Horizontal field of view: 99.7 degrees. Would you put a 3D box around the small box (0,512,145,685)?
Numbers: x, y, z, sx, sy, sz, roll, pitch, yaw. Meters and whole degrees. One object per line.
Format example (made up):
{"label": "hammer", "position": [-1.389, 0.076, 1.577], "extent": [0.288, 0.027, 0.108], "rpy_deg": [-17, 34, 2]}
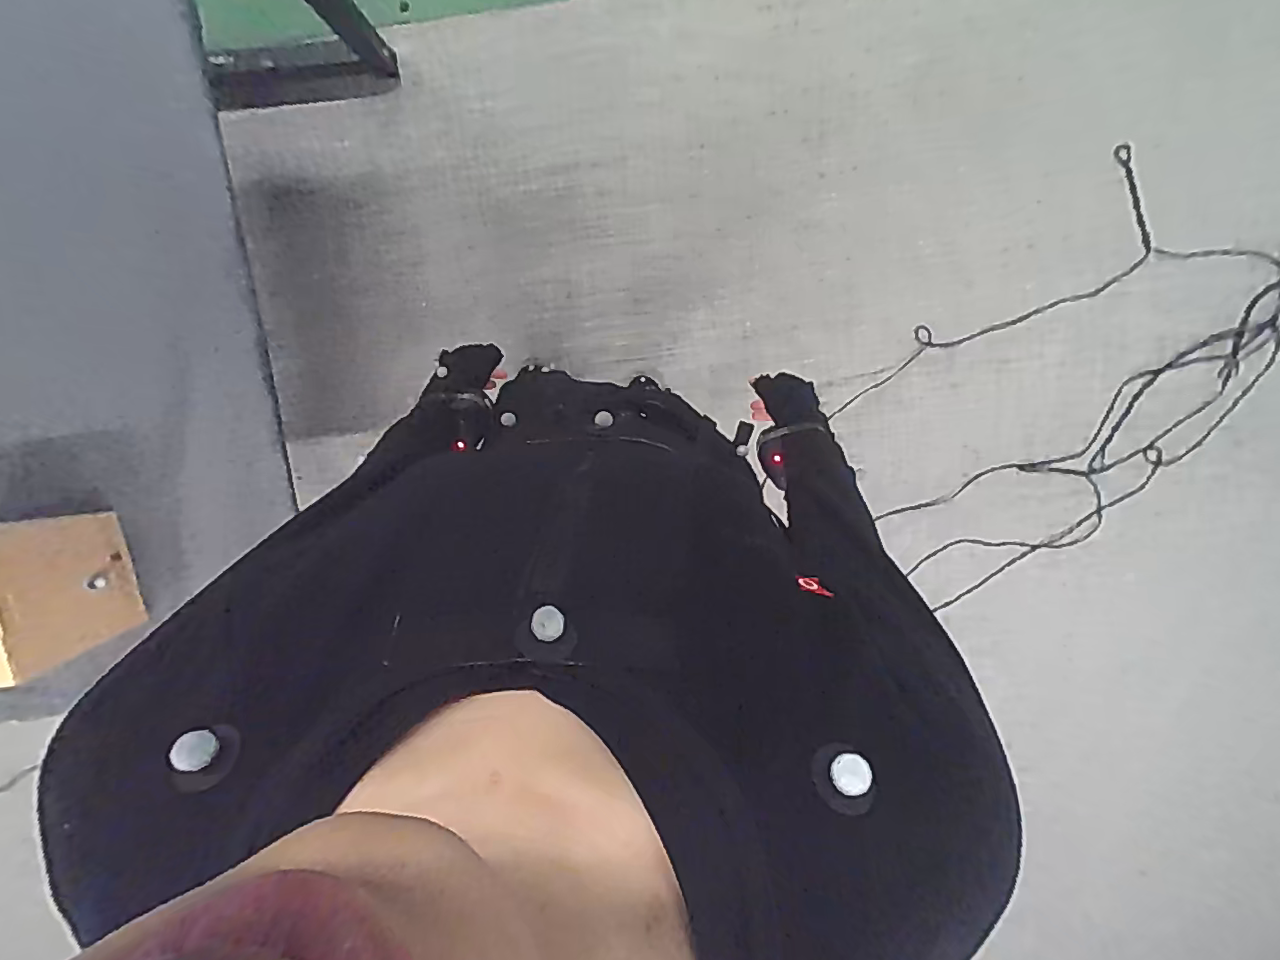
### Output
{"label": "small box", "position": [-0.798, 0.145, 0.683], "extent": [0.179, 0.176, 0.168], "rpy_deg": [-6, 101, 2]}
